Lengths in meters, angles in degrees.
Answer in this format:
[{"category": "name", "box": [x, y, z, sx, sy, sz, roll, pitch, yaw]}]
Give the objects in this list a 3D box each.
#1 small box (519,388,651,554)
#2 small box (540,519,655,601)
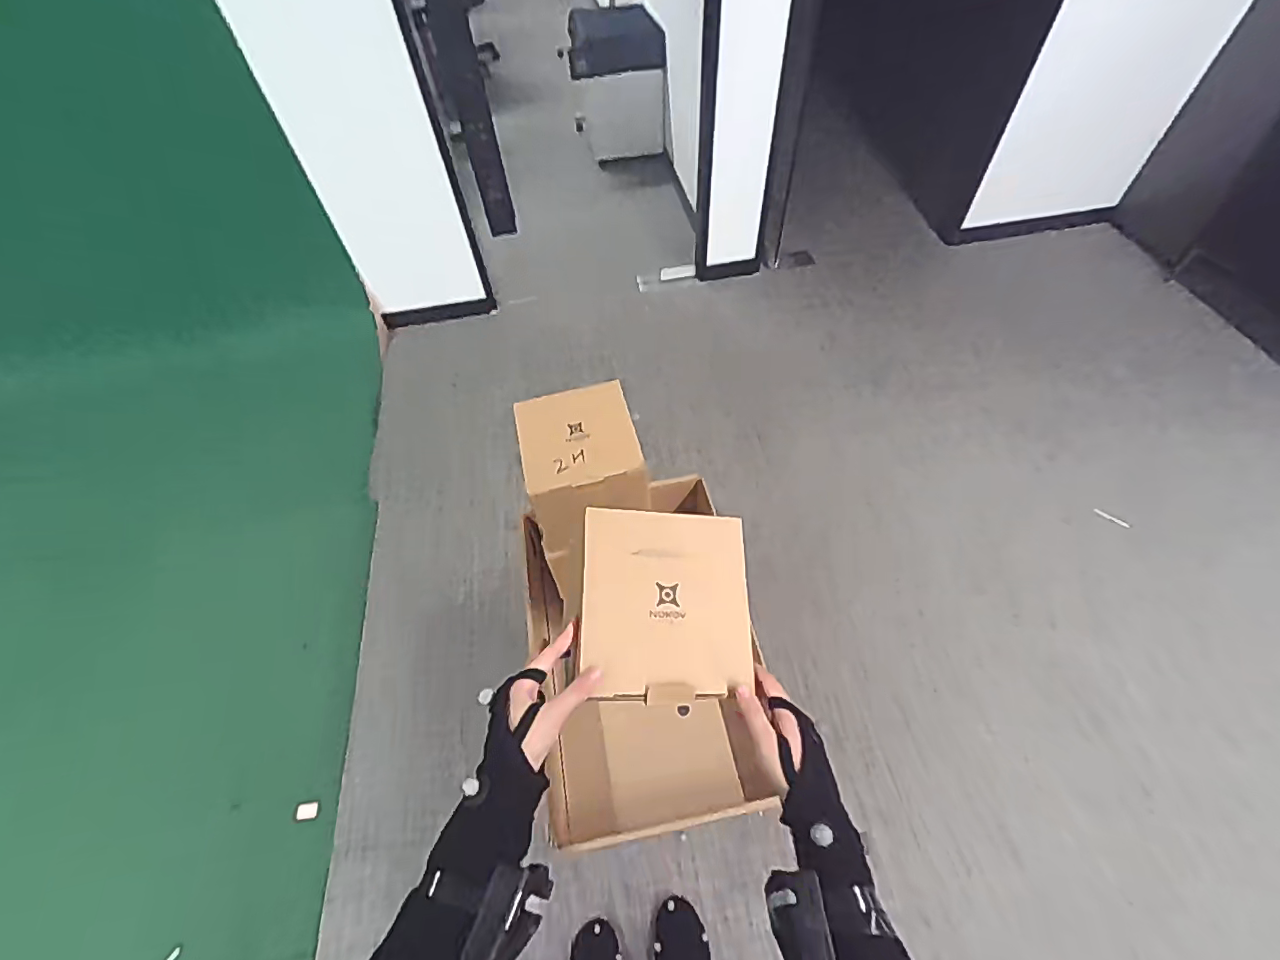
[{"category": "small box", "box": [-0.082, -0.012, 0.842, 0.168, 0.176, 0.179, -13, 55, -5]}, {"category": "small box", "box": [-0.077, 0.094, 0.969, 0.179, 0.176, 0.168, -15, 55, -6]}]
